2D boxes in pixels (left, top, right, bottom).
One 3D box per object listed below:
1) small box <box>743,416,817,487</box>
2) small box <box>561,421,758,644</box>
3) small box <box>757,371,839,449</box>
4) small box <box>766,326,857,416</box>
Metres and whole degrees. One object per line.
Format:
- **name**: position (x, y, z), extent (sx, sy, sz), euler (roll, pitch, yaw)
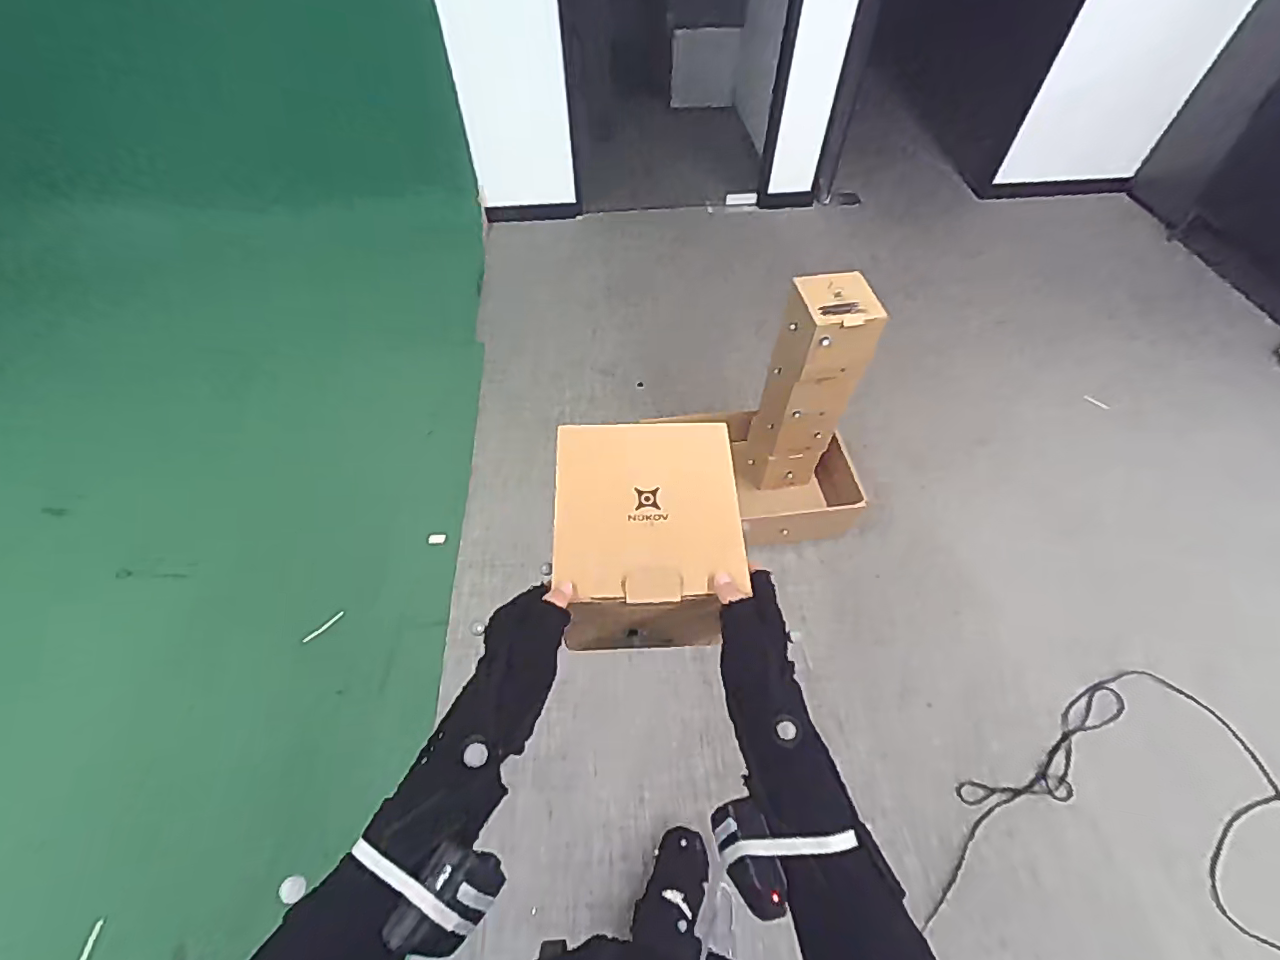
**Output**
- **small box**: position (0.433, -0.093, 1.697), extent (0.168, 0.176, 0.179), euler (-10, 54, -5)
- **small box**: position (0.009, 0.058, 0.551), extent (0.168, 0.176, 0.179), euler (-1, 62, -4)
- **small box**: position (0.446, -0.201, 1.551), extent (0.168, 0.176, 0.179), euler (-6, 55, -3)
- **small box**: position (0.444, -0.281, 1.427), extent (0.168, 0.176, 0.179), euler (-5, 55, -4)
